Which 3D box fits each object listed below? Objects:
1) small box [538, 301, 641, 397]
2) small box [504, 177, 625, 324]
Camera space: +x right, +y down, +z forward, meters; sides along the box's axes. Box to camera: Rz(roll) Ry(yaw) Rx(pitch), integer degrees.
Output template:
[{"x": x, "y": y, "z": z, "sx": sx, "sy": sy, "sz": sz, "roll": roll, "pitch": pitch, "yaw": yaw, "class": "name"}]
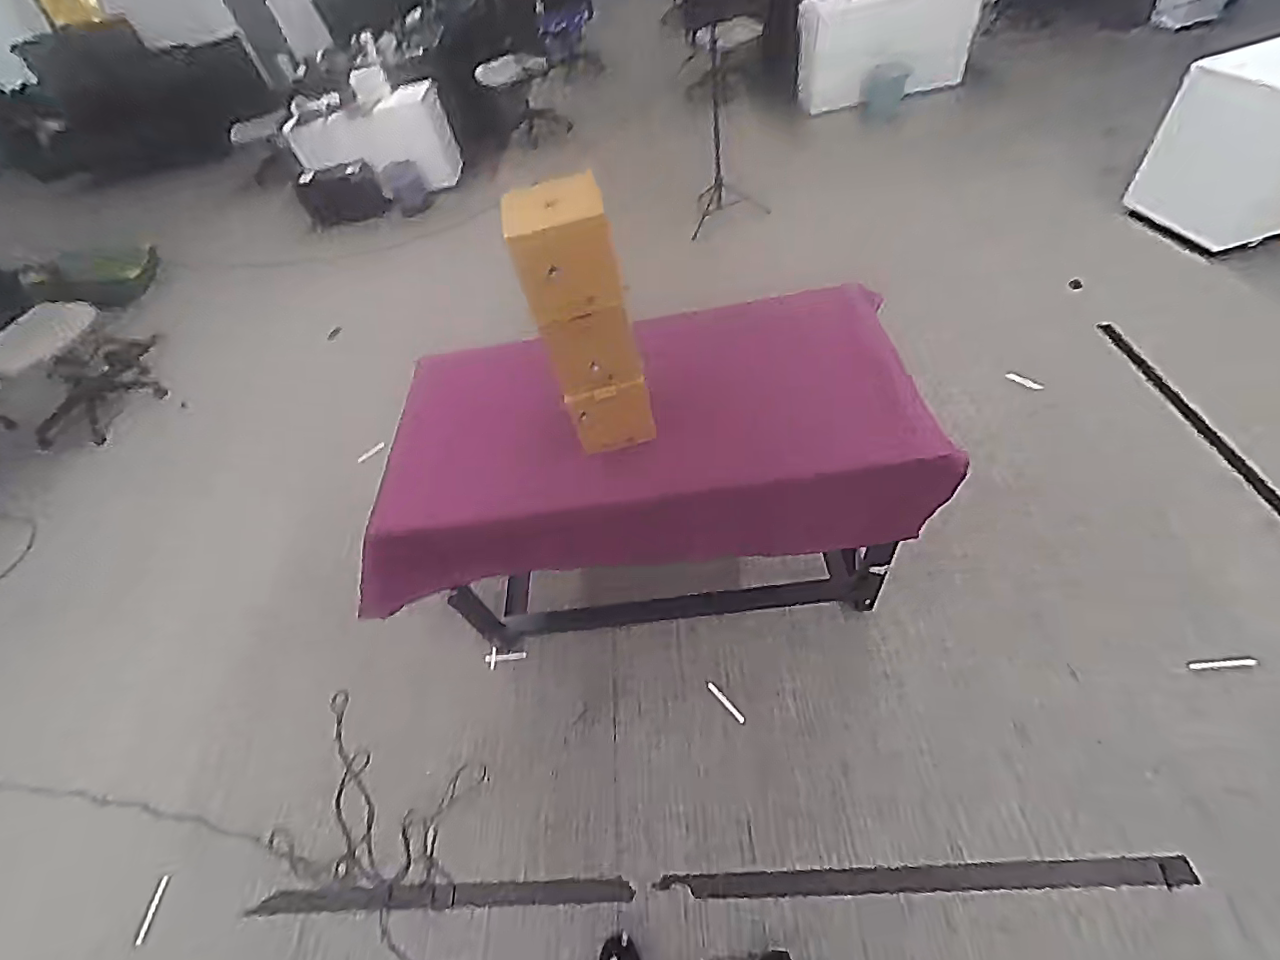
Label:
[{"x": -0.100, "y": -0.294, "z": 1.075, "sx": 0.168, "sy": 0.176, "sz": 0.179, "roll": -13, "pitch": 50, "yaw": 2, "class": "small box"}, {"x": -0.130, "y": -0.394, "z": 0.949, "sx": 0.168, "sy": 0.176, "sz": 0.179, "roll": -15, "pitch": 48, "yaw": 0, "class": "small box"}]
